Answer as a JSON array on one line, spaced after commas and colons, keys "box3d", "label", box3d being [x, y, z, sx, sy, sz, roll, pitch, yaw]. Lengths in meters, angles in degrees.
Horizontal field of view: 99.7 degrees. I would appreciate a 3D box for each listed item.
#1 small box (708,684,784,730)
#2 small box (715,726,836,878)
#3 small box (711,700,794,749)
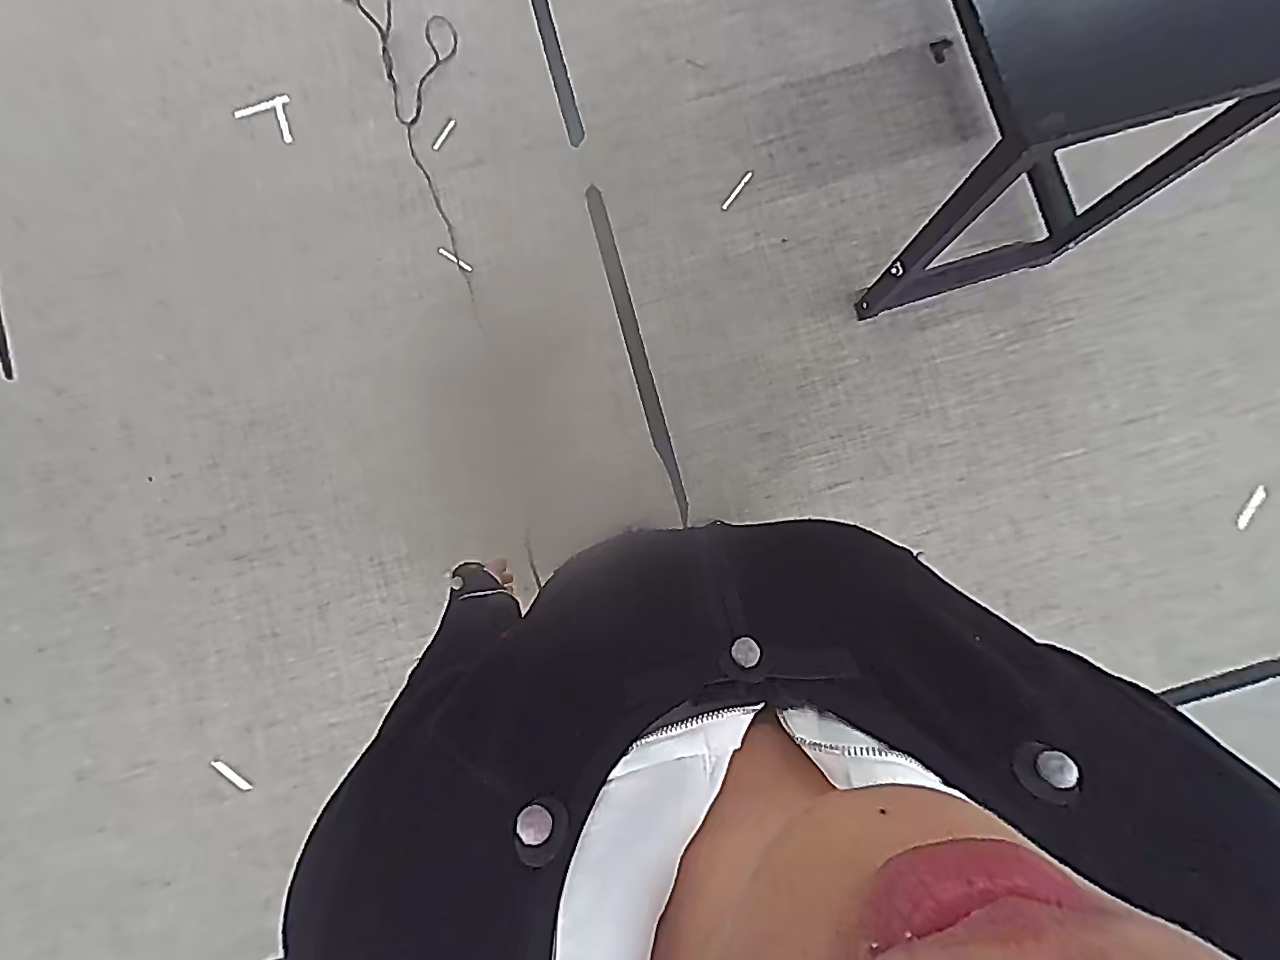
[{"box3d": [0.277, 0.643, 1.376, 0.179, 0.176, 0.168, -16, 85, 0], "label": "small box"}, {"box3d": [0.253, 0.612, 1.049, 0.168, 0.176, 0.179, -18, 83, 1], "label": "small box"}, {"box3d": [0.266, 0.626, 1.213, 0.168, 0.176, 0.179, -18, 85, 1], "label": "small box"}]
